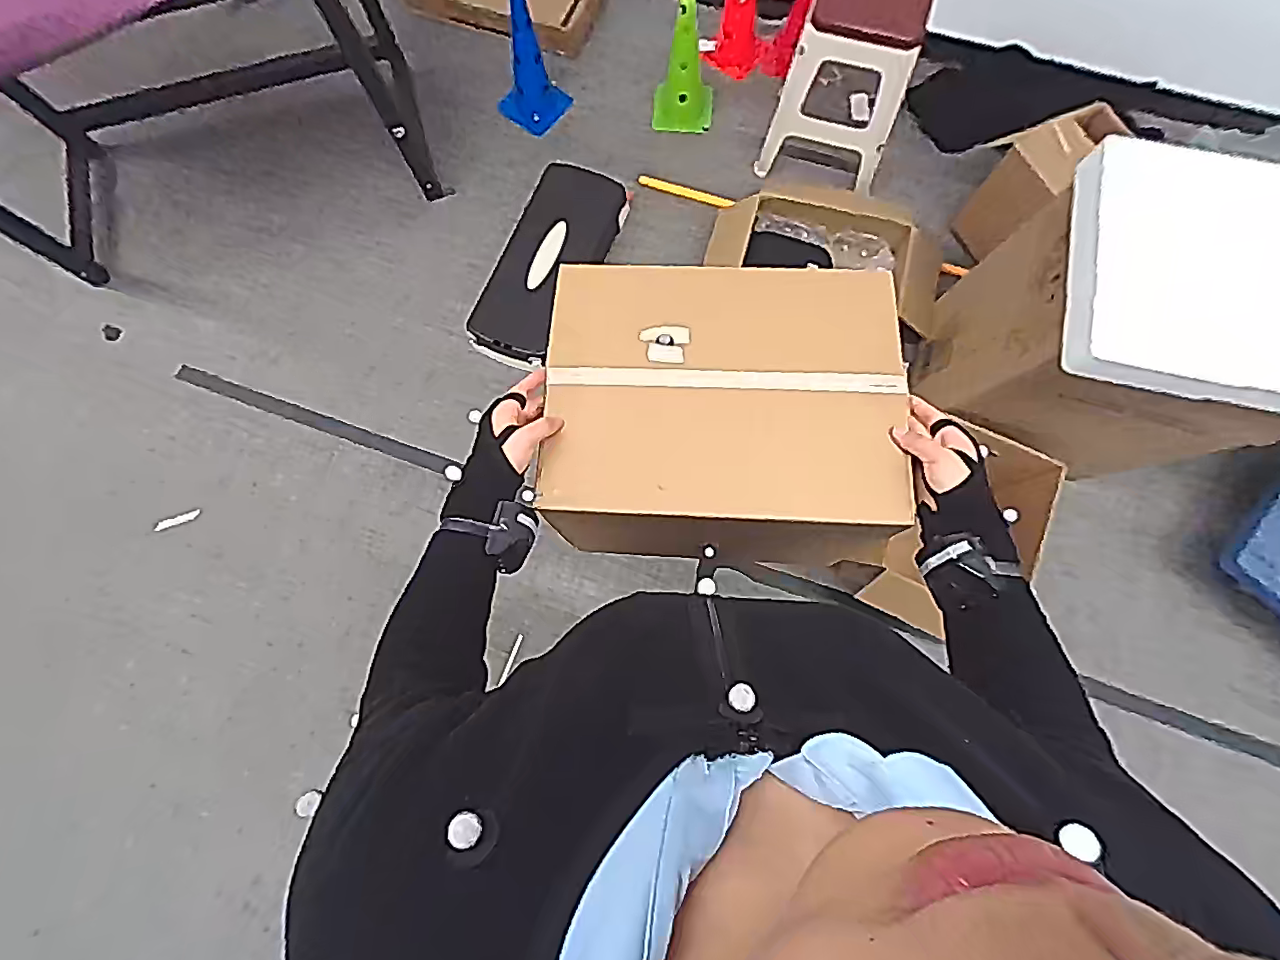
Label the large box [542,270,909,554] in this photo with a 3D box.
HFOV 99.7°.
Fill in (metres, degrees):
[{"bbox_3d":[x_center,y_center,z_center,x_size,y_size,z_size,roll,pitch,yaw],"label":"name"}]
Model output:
[{"bbox_3d":[0.102,-0.068,0.769,0.408,0.320,0.320,1,72,4],"label":"large box"}]
